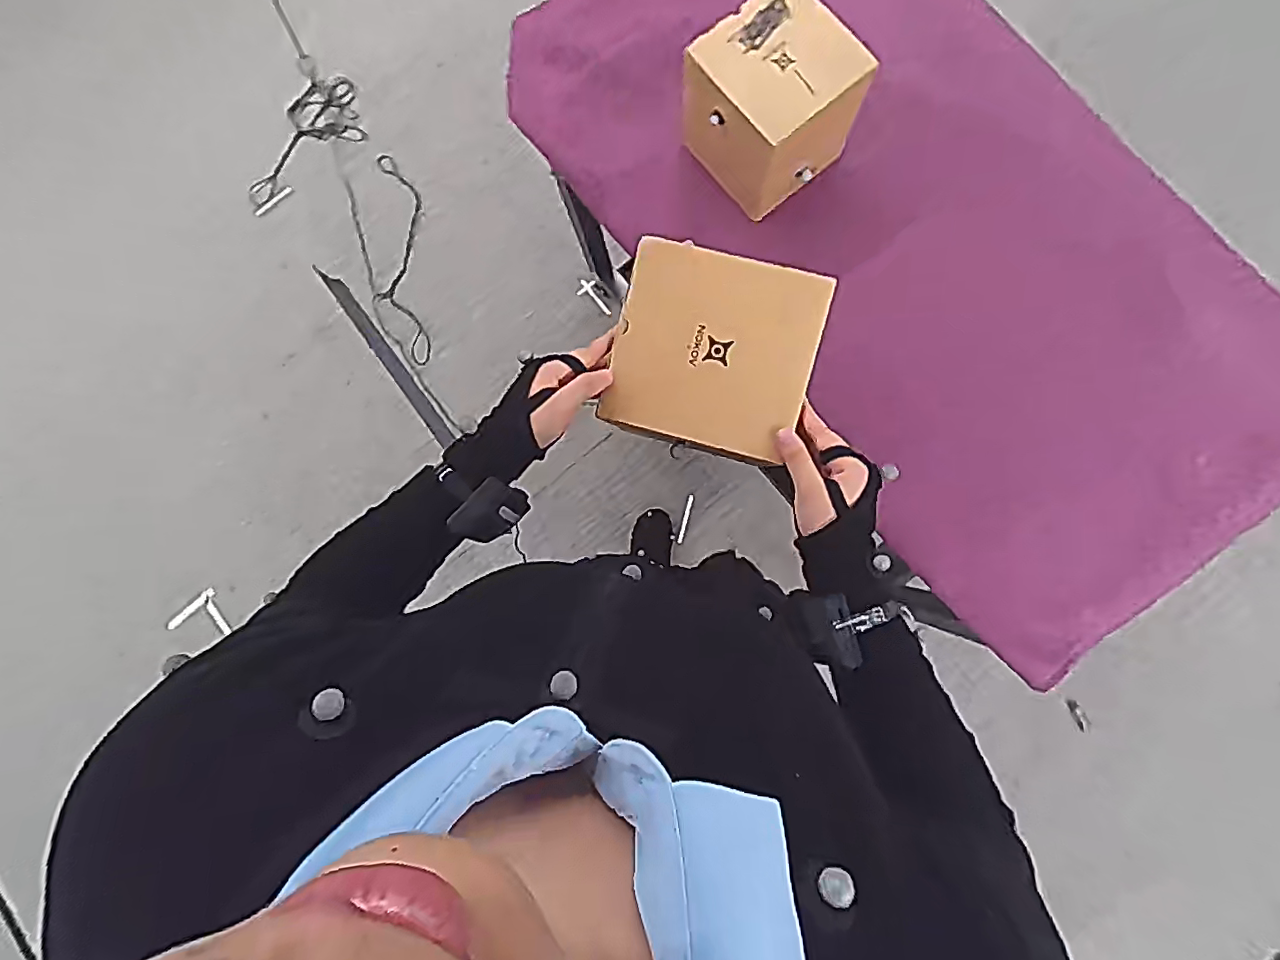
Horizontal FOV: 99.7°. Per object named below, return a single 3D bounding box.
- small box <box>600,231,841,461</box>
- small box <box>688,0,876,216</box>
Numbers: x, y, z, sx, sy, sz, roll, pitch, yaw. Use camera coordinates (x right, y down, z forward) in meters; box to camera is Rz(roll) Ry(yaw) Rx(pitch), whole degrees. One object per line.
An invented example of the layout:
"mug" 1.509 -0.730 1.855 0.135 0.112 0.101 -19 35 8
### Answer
"small box" 0.076 -0.121 0.549 0.179 0.176 0.168 15 93 6
"small box" 0.178 -0.512 0.745 0.168 0.176 0.179 -39 84 0
